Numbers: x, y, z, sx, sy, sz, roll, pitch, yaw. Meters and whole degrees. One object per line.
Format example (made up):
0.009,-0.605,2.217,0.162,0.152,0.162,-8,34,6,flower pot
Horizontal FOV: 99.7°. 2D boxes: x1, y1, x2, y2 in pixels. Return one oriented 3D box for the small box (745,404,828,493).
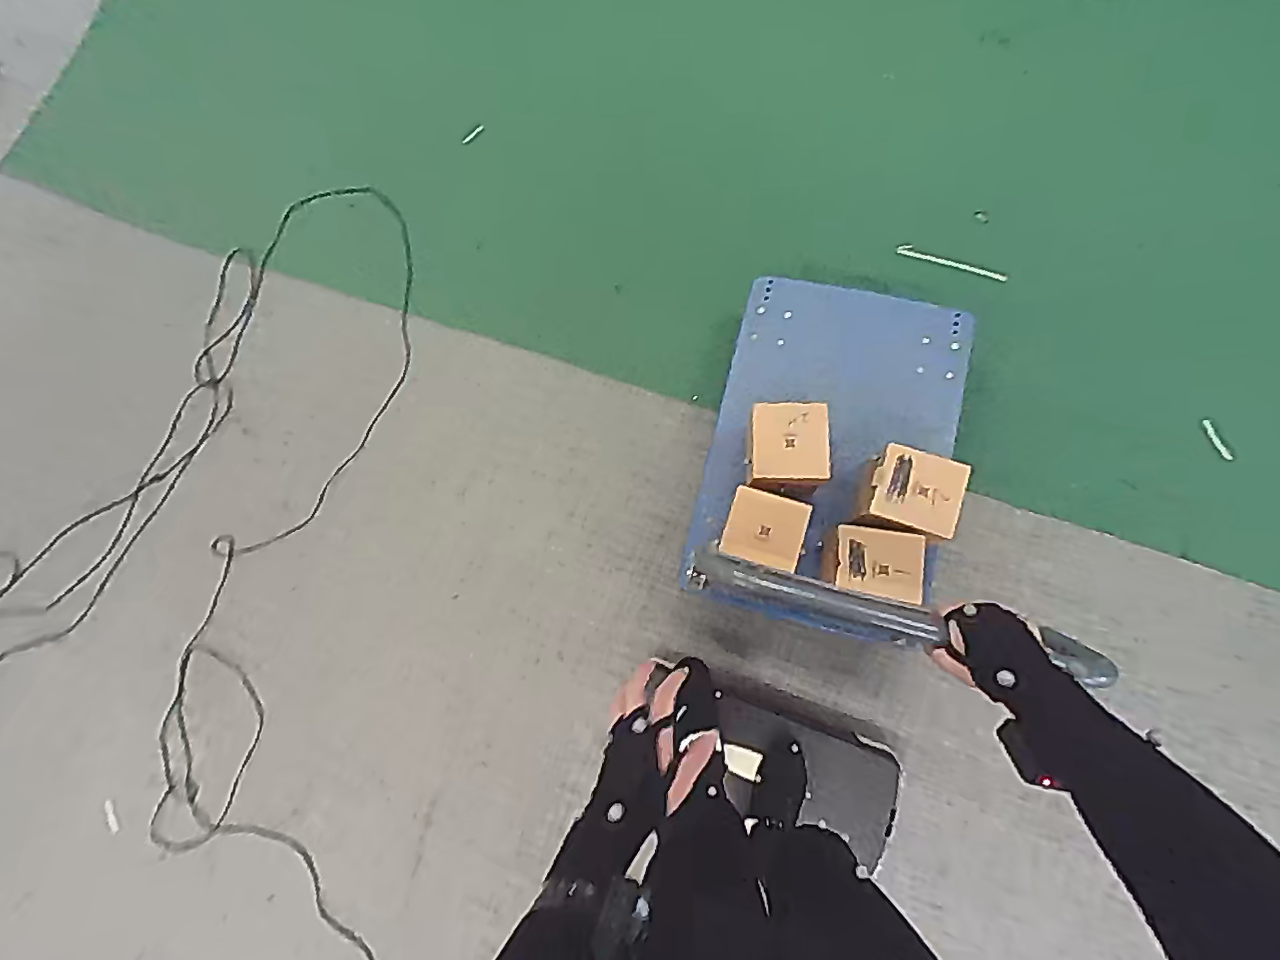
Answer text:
0.339,-0.068,1.267,0.168,0.176,0.179,1,78,6,small box
